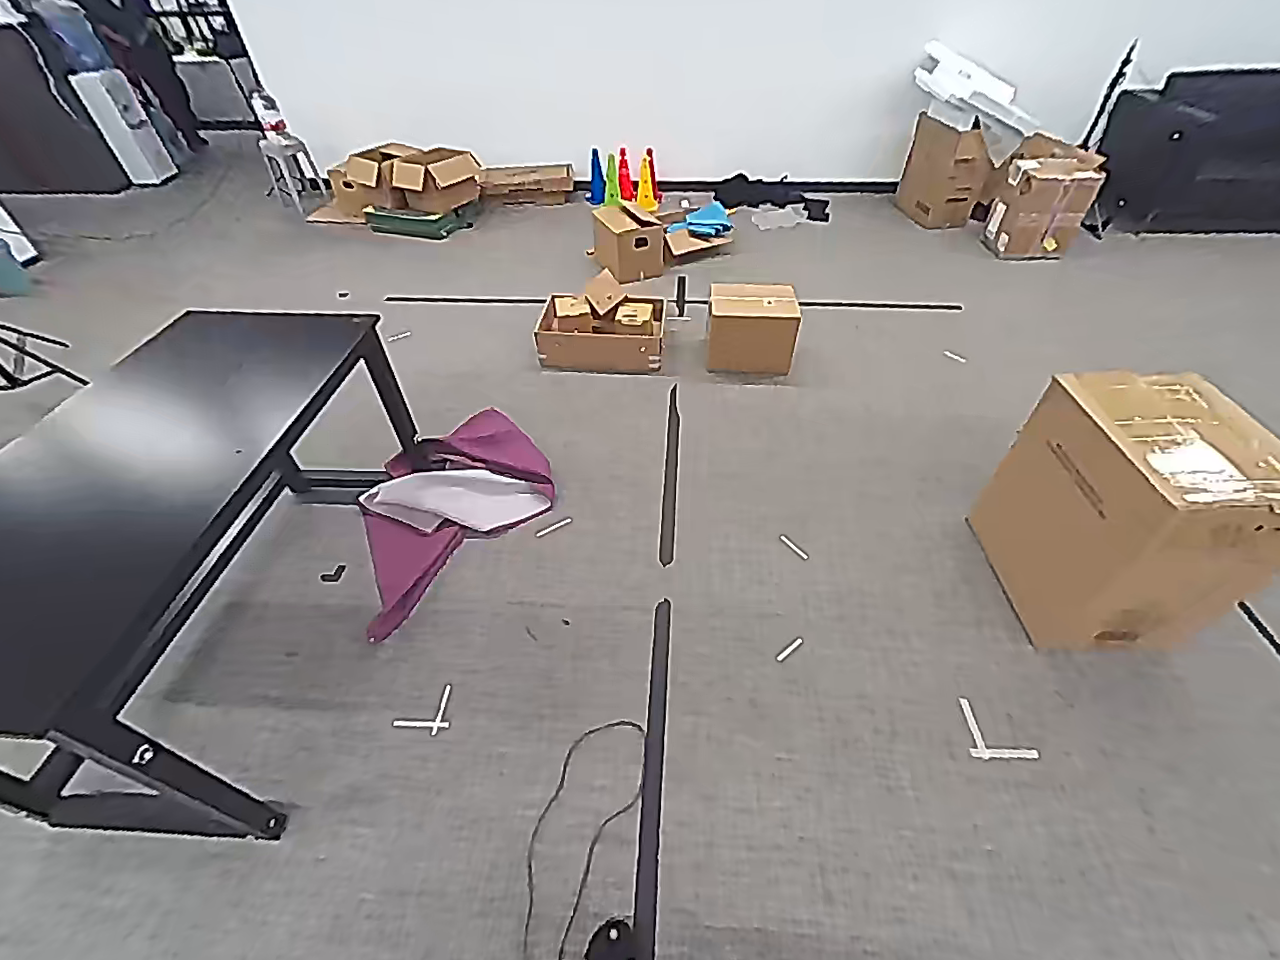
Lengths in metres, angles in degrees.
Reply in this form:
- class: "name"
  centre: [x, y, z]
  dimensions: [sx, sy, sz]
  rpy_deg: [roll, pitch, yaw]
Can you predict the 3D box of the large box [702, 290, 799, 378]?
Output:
- class: "large box"
  centre: [0.526, -0.717, 2.658]
  dimensions: [0.408, 0.320, 0.320]
  rpy_deg: [2, 46, 2]
